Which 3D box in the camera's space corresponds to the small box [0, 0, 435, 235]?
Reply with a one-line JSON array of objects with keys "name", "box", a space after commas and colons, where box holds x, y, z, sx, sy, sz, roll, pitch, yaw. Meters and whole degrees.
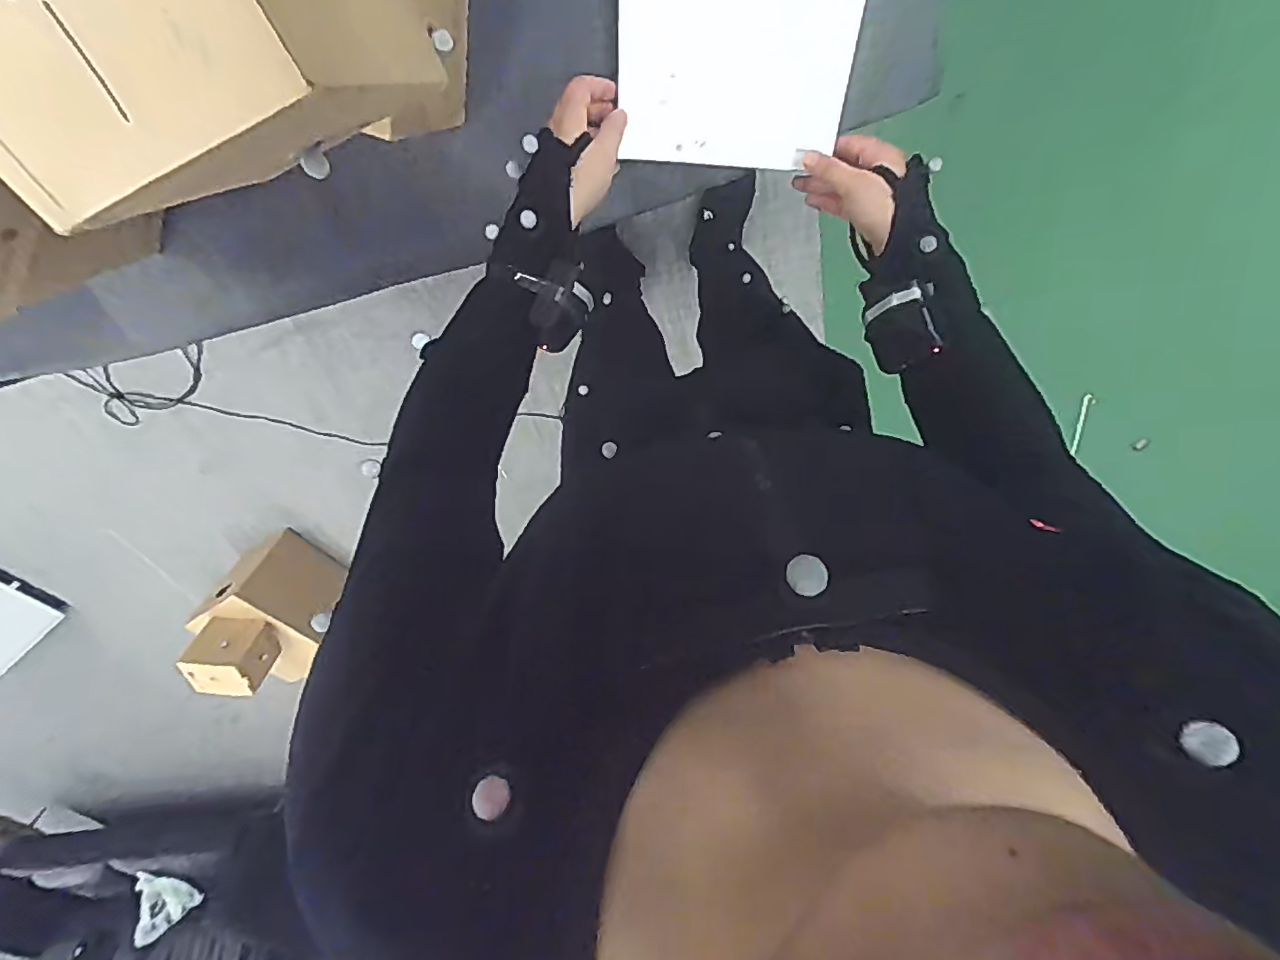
[{"name": "small box", "box": [-0.236, -0.250, 0.260, 0.168, 0.176, 0.179, -14, 126, 15]}]

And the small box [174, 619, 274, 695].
[{"name": "small box", "box": [-1.291, 0.555, 1.702, 0.179, 0.176, 0.168, 5, 128, -3]}]

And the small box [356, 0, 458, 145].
[{"name": "small box", "box": [-0.234, -0.362, 0.381, 0.179, 0.176, 0.168, 13, 127, -5]}]

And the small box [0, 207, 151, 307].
[{"name": "small box", "box": [-0.560, -0.287, 0.459, 0.179, 0.176, 0.168, 29, 123, -18]}]
